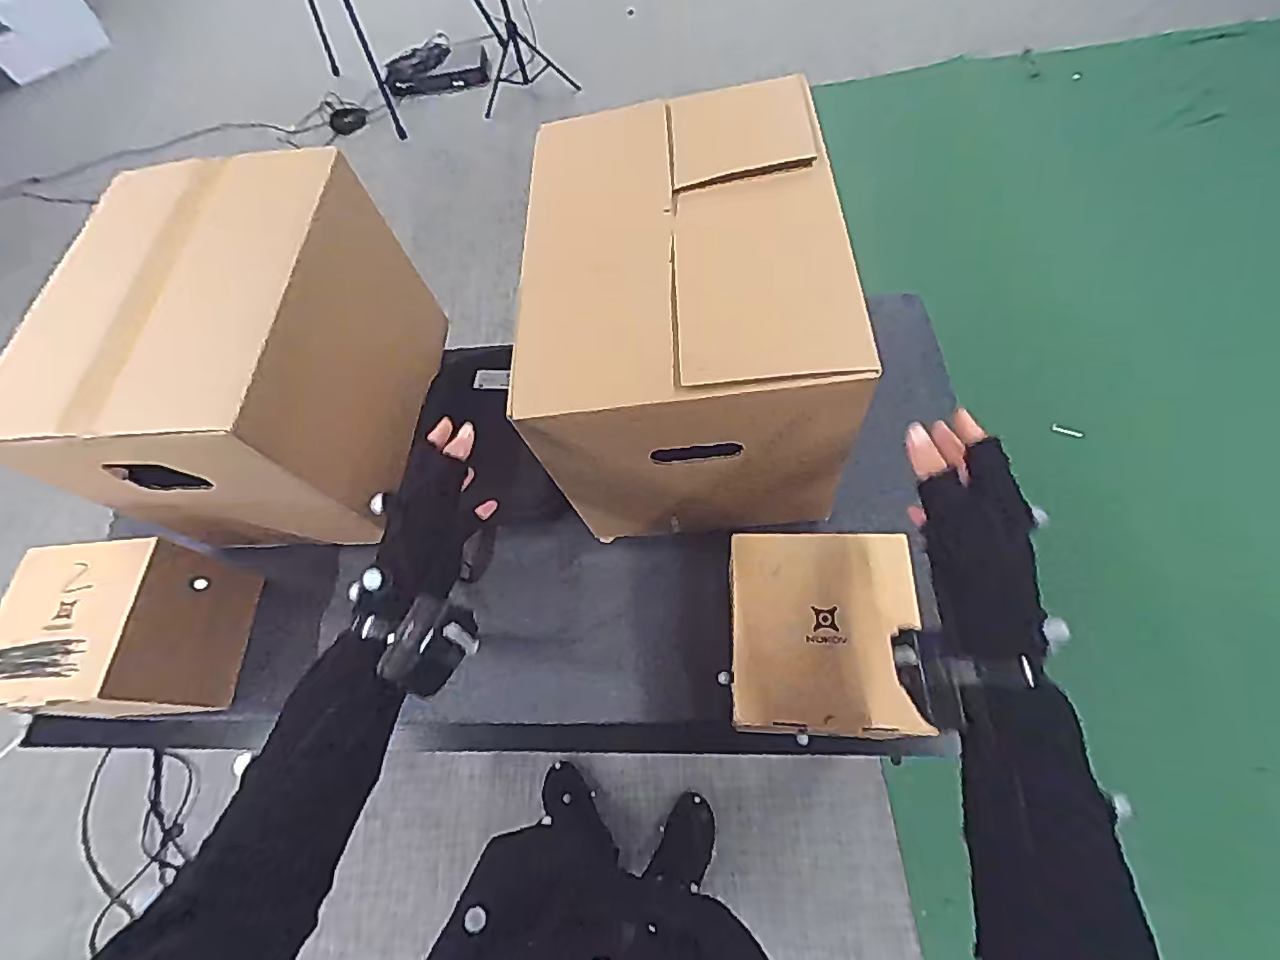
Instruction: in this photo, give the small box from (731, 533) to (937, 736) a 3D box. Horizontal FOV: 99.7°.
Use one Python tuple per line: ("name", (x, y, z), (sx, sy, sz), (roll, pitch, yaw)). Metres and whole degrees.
("small box", (0.181, 0.165, 0.564), (0.168, 0.176, 0.179), (0, 65, 8))
